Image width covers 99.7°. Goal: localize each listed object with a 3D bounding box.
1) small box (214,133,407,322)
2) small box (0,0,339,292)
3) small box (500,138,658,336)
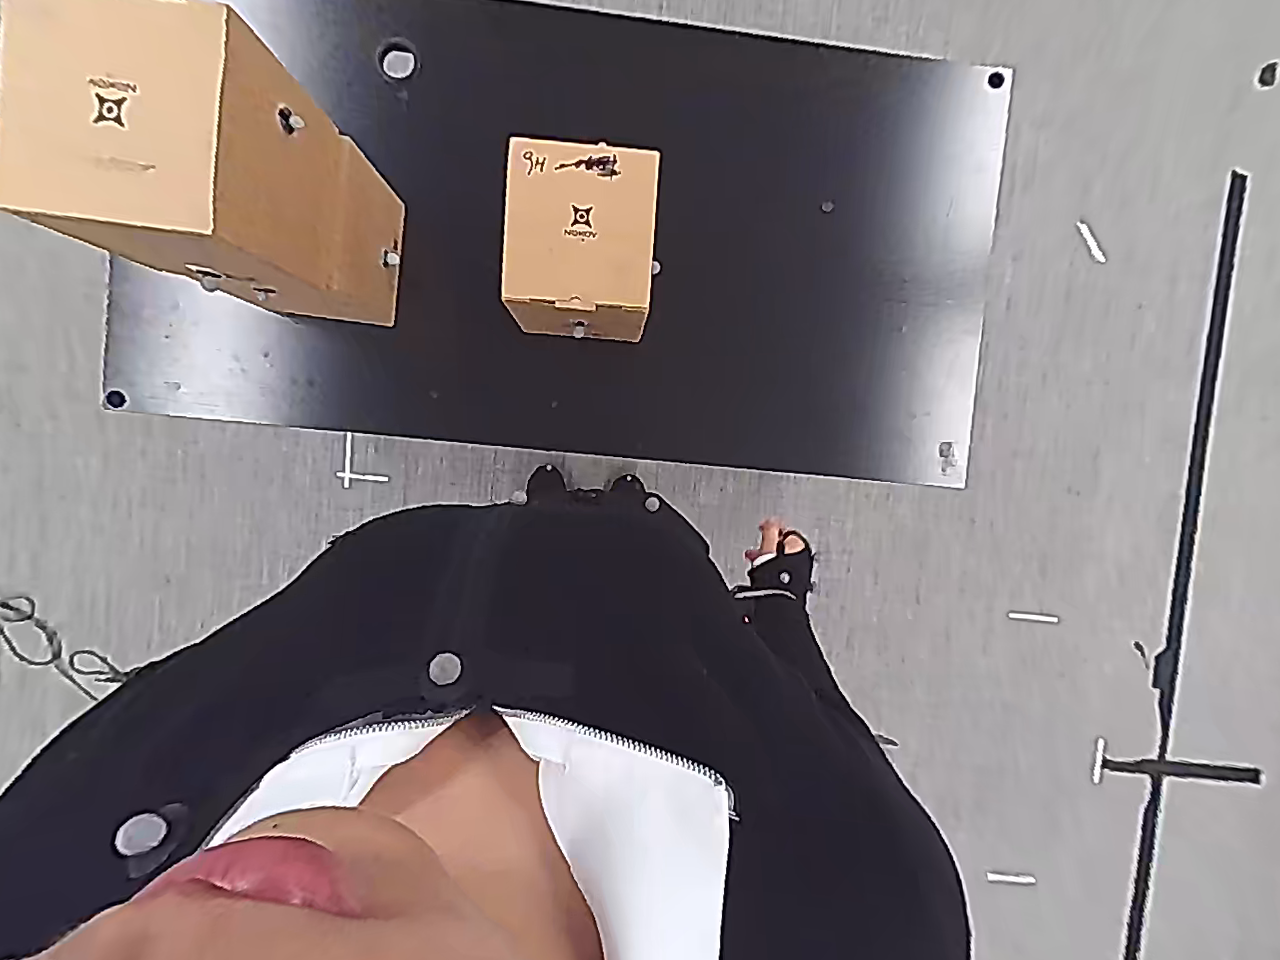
[{"bbox_3d":[-0.407,-0.300,0.654,0.179,0.176,0.168,7,92,-5],"label":"small box"},{"bbox_3d":[-0.400,-0.291,0.492,0.168,0.176,0.179,6,93,-2],"label":"small box"},{"bbox_3d":[-0.071,-0.285,0.676,0.168,0.176,0.179,4,93,-3],"label":"small box"}]
